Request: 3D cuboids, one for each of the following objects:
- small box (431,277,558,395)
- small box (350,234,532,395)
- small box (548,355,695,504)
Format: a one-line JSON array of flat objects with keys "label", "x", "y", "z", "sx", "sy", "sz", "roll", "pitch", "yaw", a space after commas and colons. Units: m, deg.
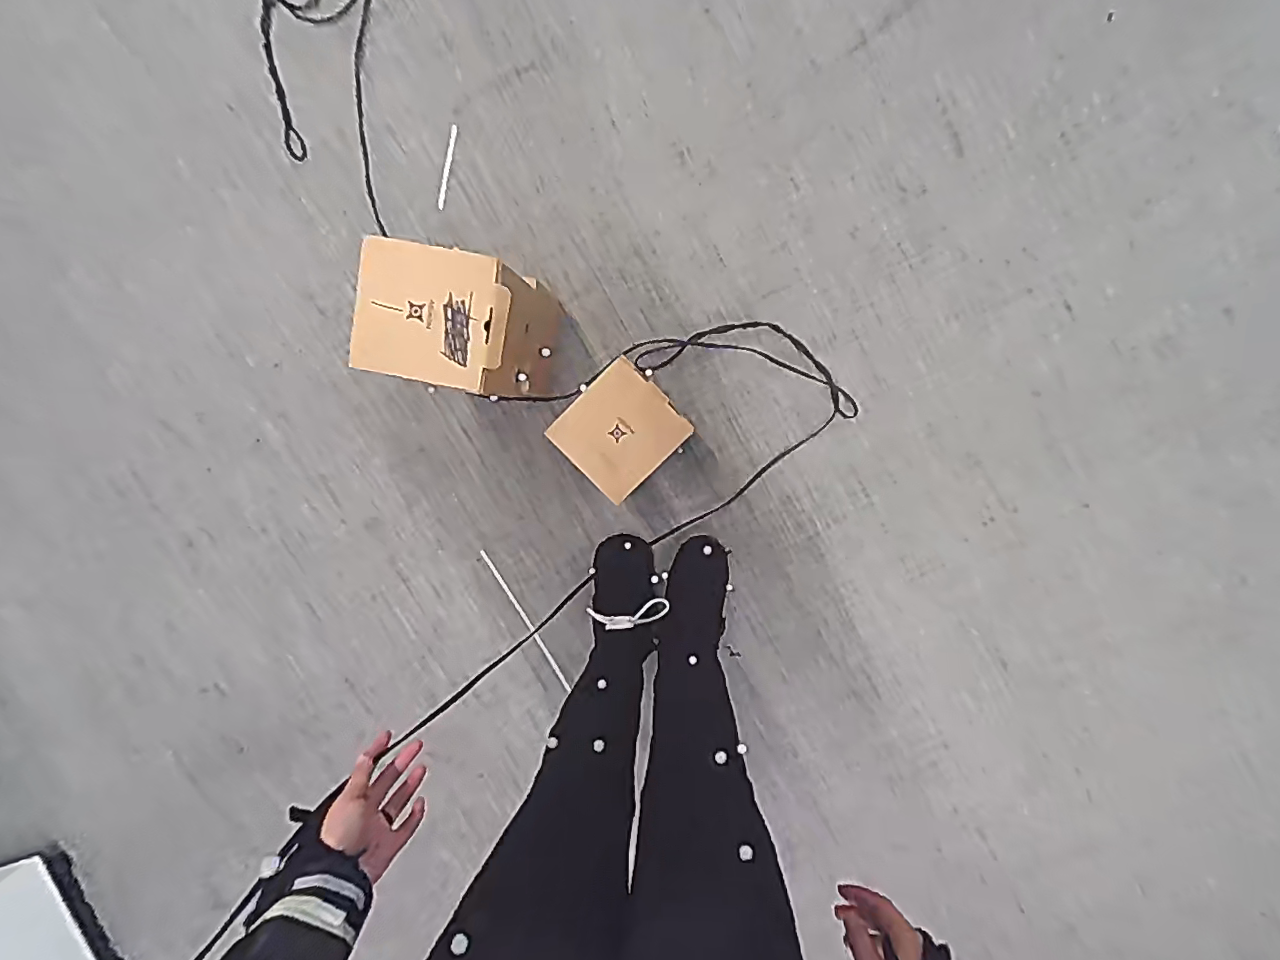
[{"label": "small box", "x": -0.238, "y": -0.237, "z": 0.907, "sx": 0.168, "sy": 0.176, "sz": 0.179, "roll": 6, "pitch": 98, "yaw": 3}, {"label": "small box", "x": -0.260, "y": -0.214, "z": 0.744, "sx": 0.179, "sy": 0.176, "sz": 0.168, "roll": 11, "pitch": 97, "yaw": 3}, {"label": "small box", "x": -0.026, "y": -0.088, "z": 0.917, "sx": 0.168, "sy": 0.176, "sz": 0.179, "roll": 45, "pitch": 98, "yaw": -2}]
